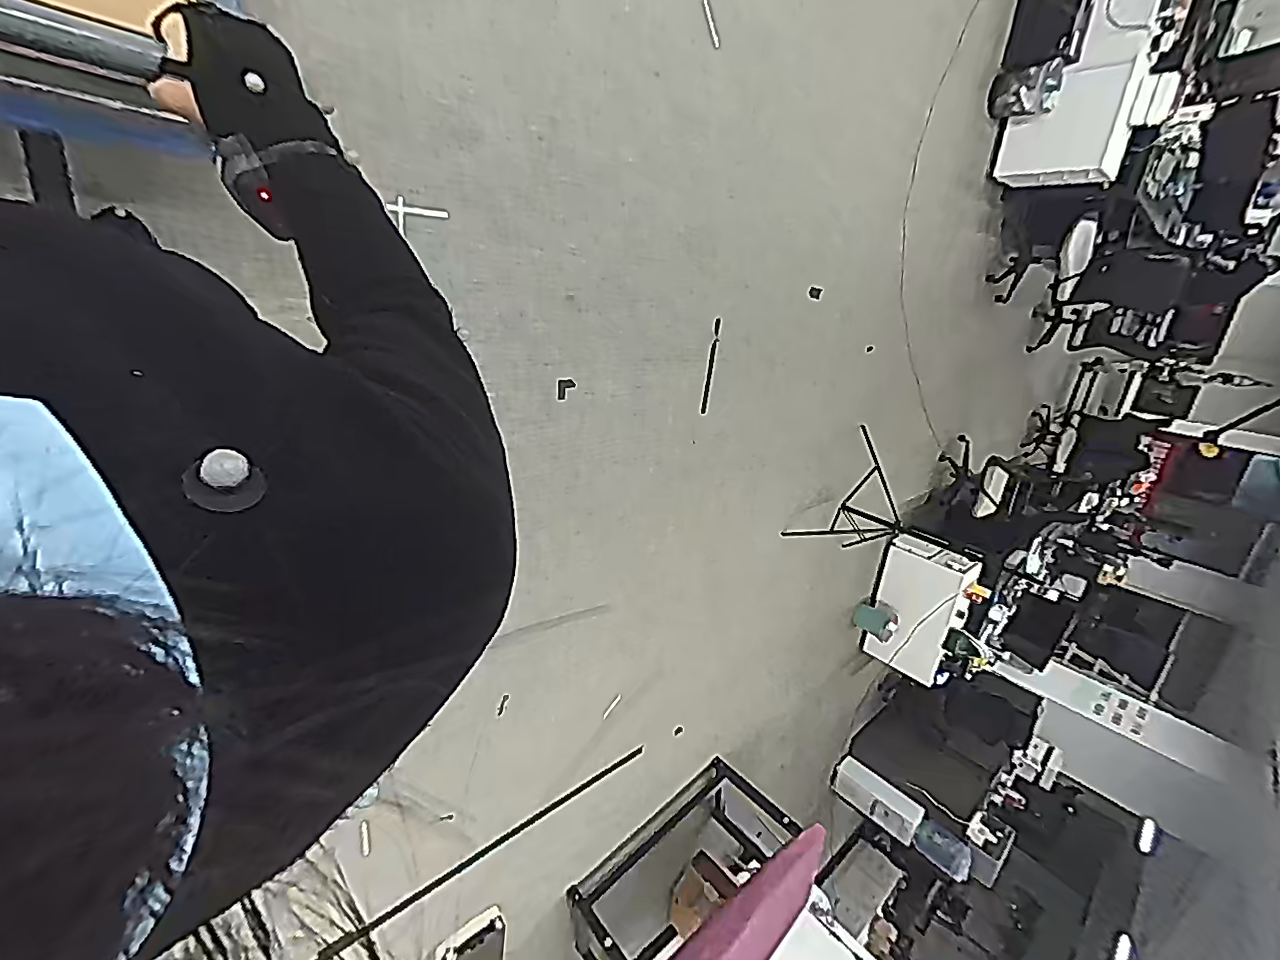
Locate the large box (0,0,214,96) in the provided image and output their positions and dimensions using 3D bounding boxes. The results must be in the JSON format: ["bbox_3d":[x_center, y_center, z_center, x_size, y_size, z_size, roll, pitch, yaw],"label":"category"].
[{"bbox_3d":[-0.787,-0.706,0.625,0.408,0.320,0.320,-11,116,-42],"label":"large box"}]
